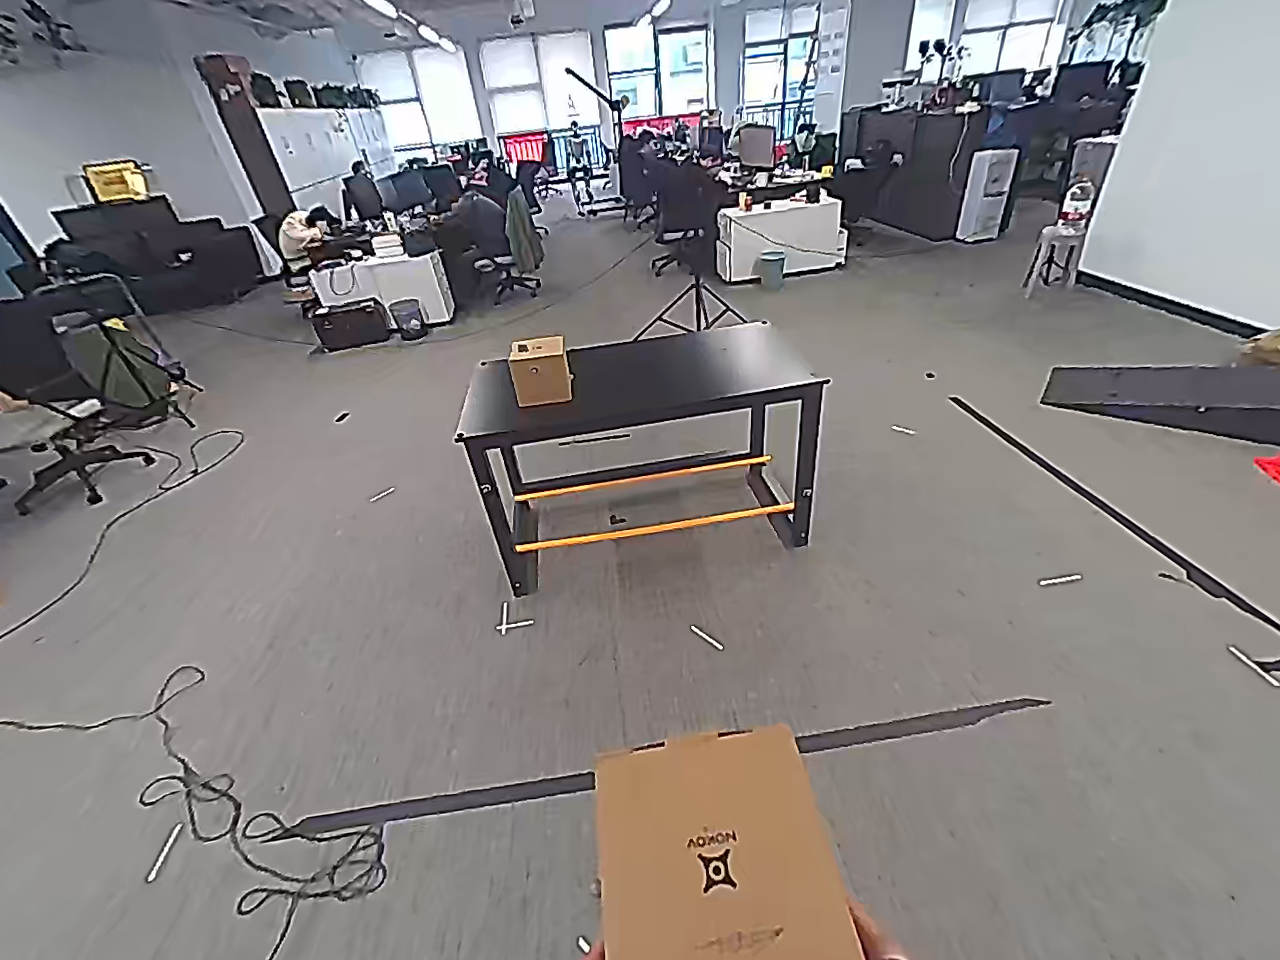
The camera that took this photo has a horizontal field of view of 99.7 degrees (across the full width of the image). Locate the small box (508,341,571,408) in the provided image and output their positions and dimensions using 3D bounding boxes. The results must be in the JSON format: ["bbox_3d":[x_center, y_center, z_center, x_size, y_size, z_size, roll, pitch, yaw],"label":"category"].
[{"bbox_3d":[-0.336,-0.355,1.836,0.179,0.176,0.168,-8,35,-3],"label":"small box"}]

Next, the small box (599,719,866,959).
[{"bbox_3d":[0.061,0.326,0.442,0.168,0.176,0.179,-9,44,-1],"label":"small box"}]
